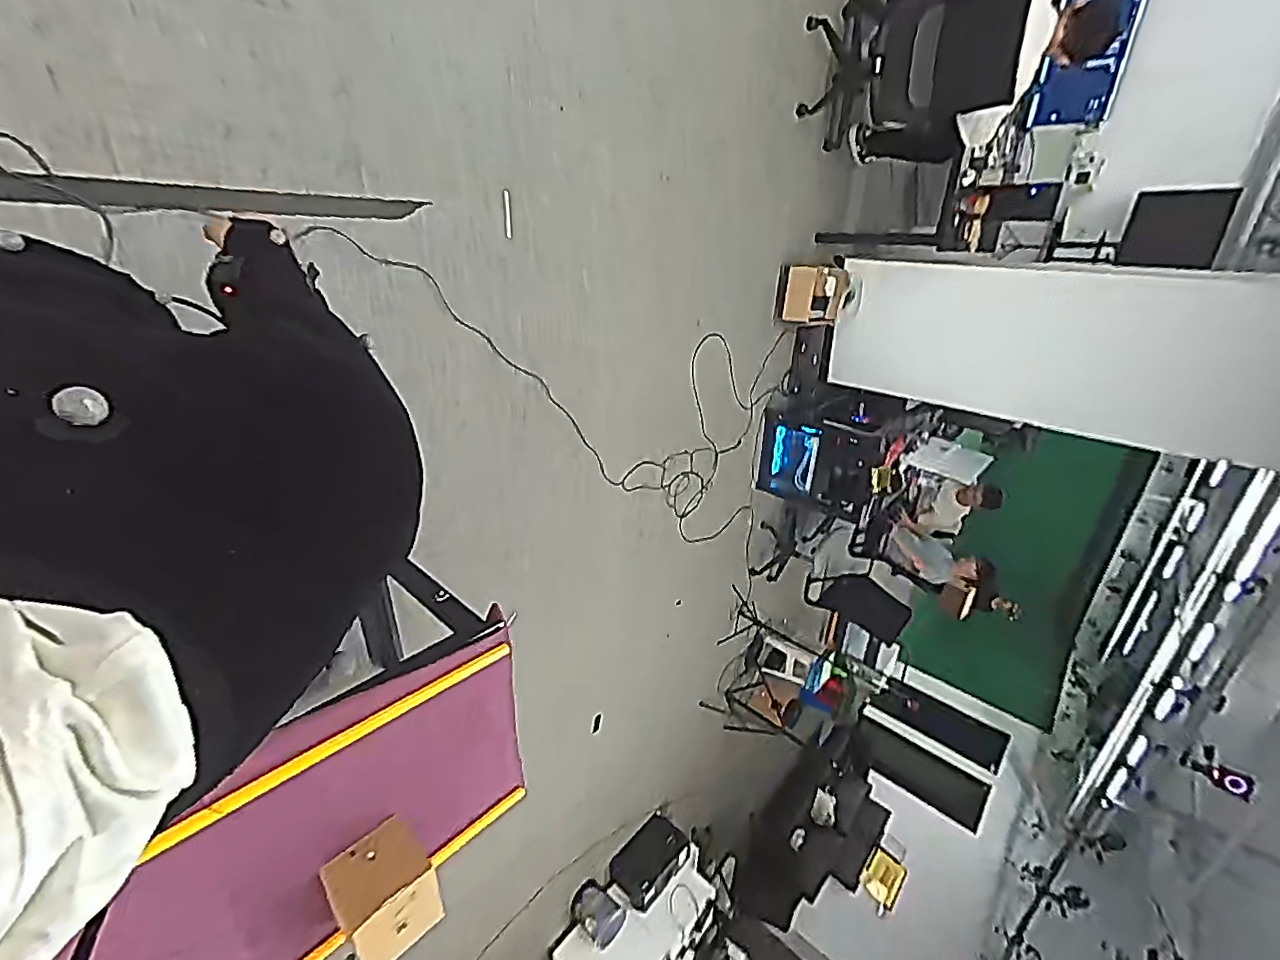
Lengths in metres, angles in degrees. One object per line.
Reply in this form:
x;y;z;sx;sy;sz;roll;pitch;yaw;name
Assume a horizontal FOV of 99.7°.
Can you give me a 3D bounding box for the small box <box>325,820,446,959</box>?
-0.534;0.872;1.138;0.168;0.176;0.179;-23;122;-43;small box
